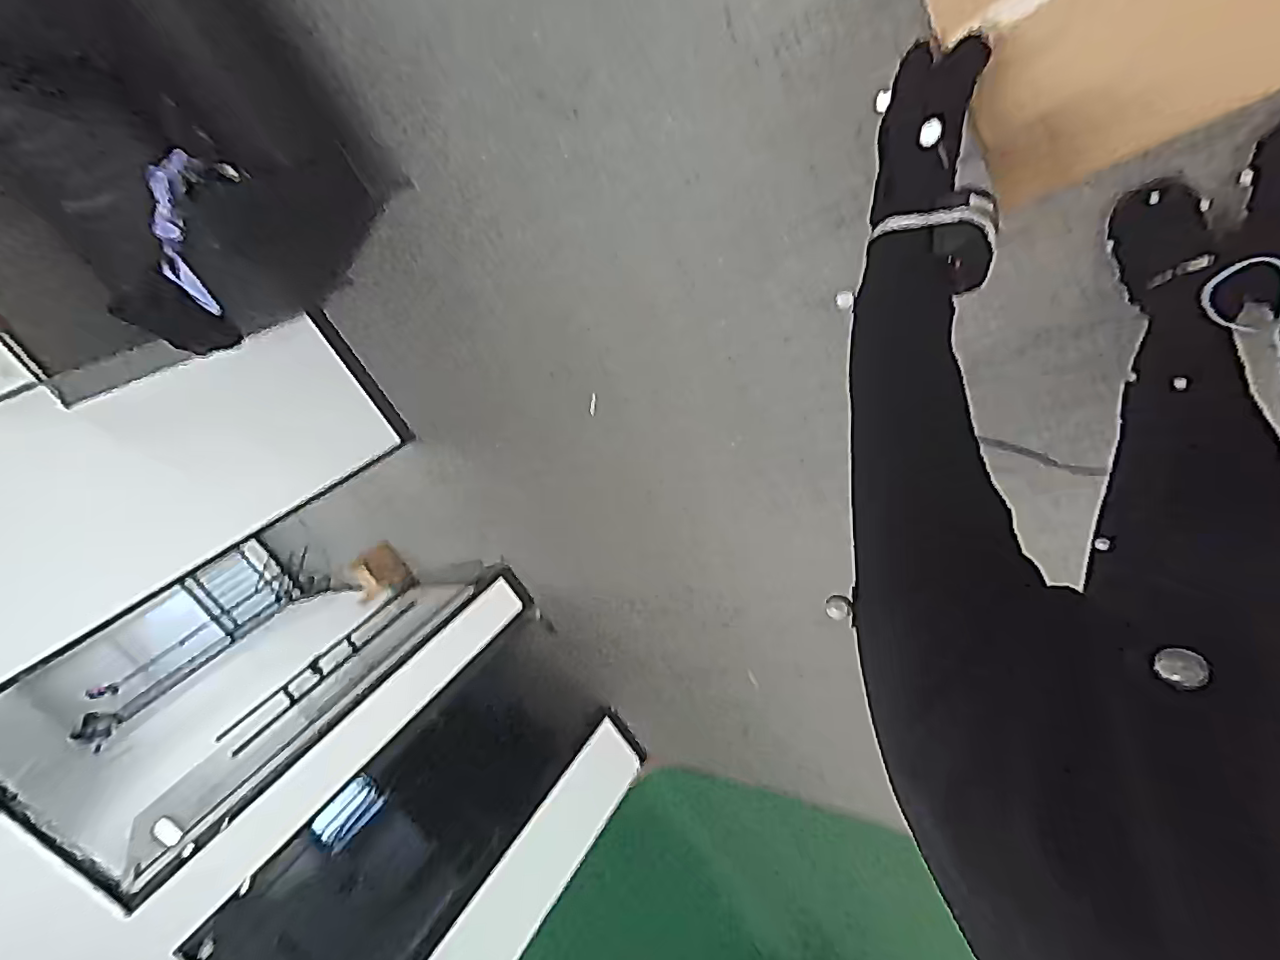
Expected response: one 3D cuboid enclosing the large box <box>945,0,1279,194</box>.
[{"bbox_3d":[0.503,-0.513,0.431,0.408,0.320,0.320,-12,115,50],"label":"large box"}]
